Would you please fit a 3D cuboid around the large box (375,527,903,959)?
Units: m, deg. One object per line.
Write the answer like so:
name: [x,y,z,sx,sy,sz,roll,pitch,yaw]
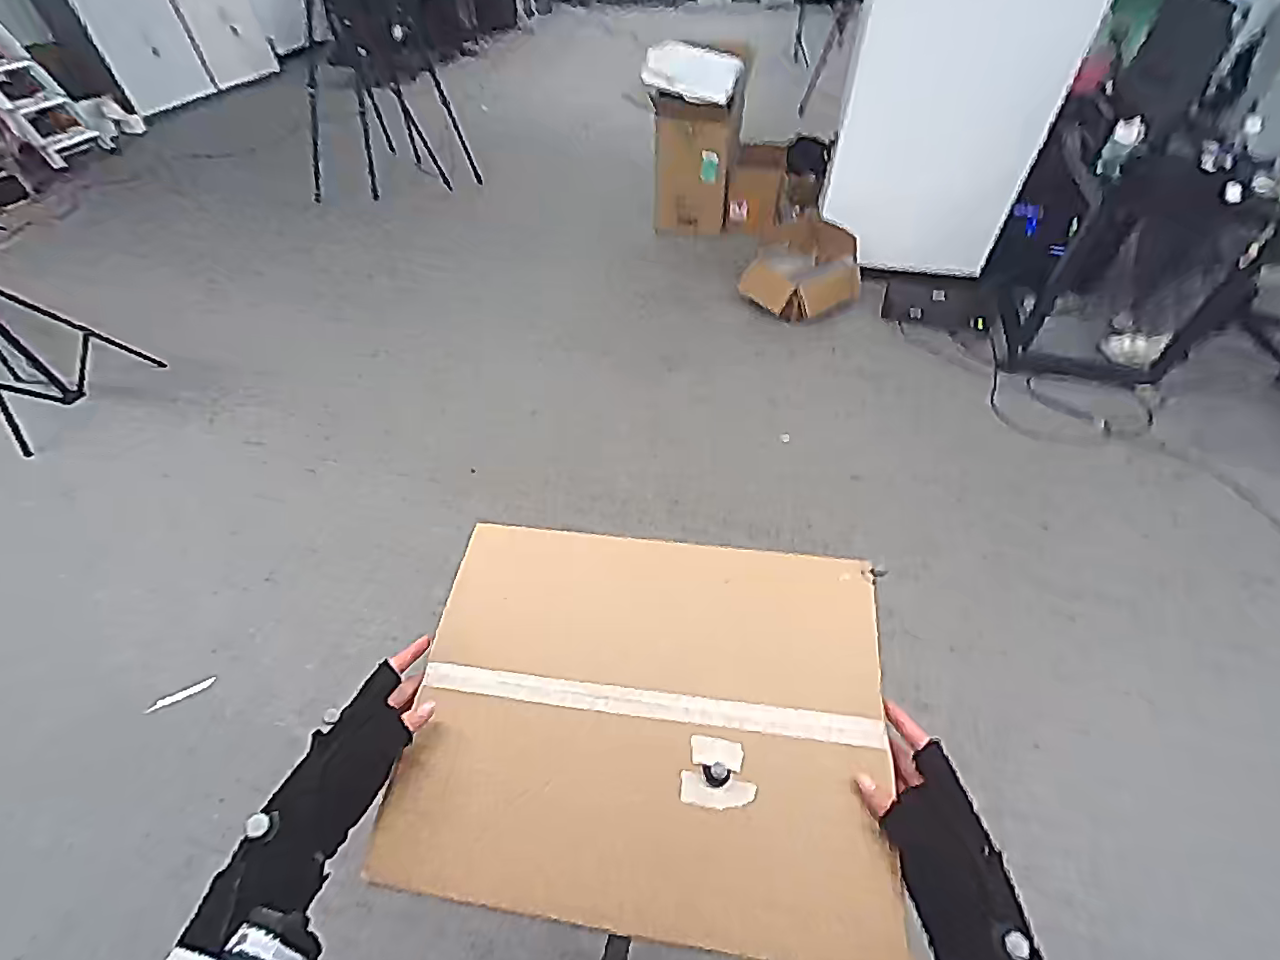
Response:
large box: [0.013,0.274,0.601,0.408,0.320,0.320,5,58,7]
